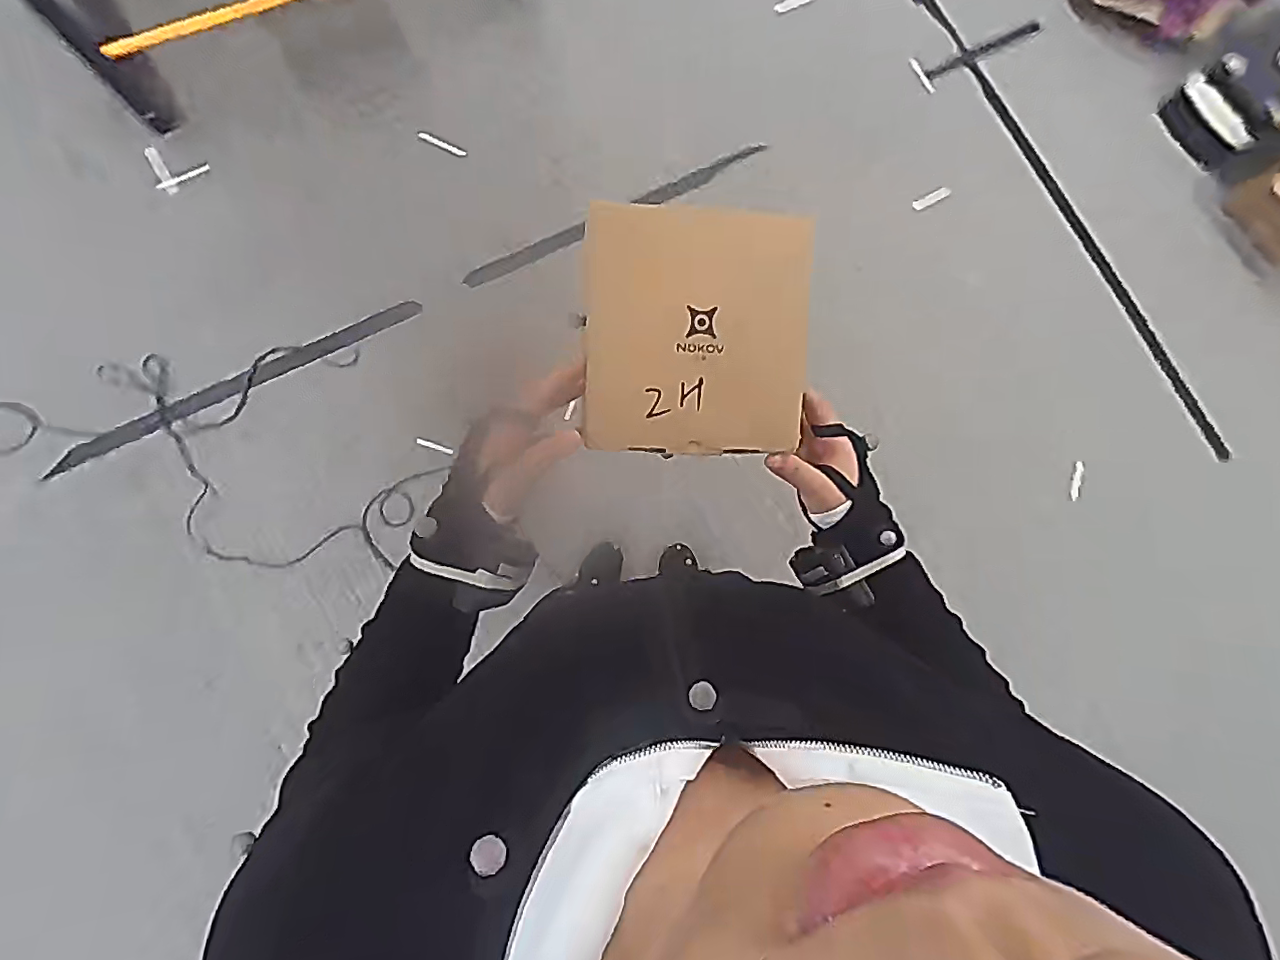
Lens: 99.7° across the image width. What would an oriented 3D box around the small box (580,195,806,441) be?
[{"bbox_3d":[0.032,-0.126,0.479,0.168,0.176,0.179,-1,98,-6],"label":"small box"}]
